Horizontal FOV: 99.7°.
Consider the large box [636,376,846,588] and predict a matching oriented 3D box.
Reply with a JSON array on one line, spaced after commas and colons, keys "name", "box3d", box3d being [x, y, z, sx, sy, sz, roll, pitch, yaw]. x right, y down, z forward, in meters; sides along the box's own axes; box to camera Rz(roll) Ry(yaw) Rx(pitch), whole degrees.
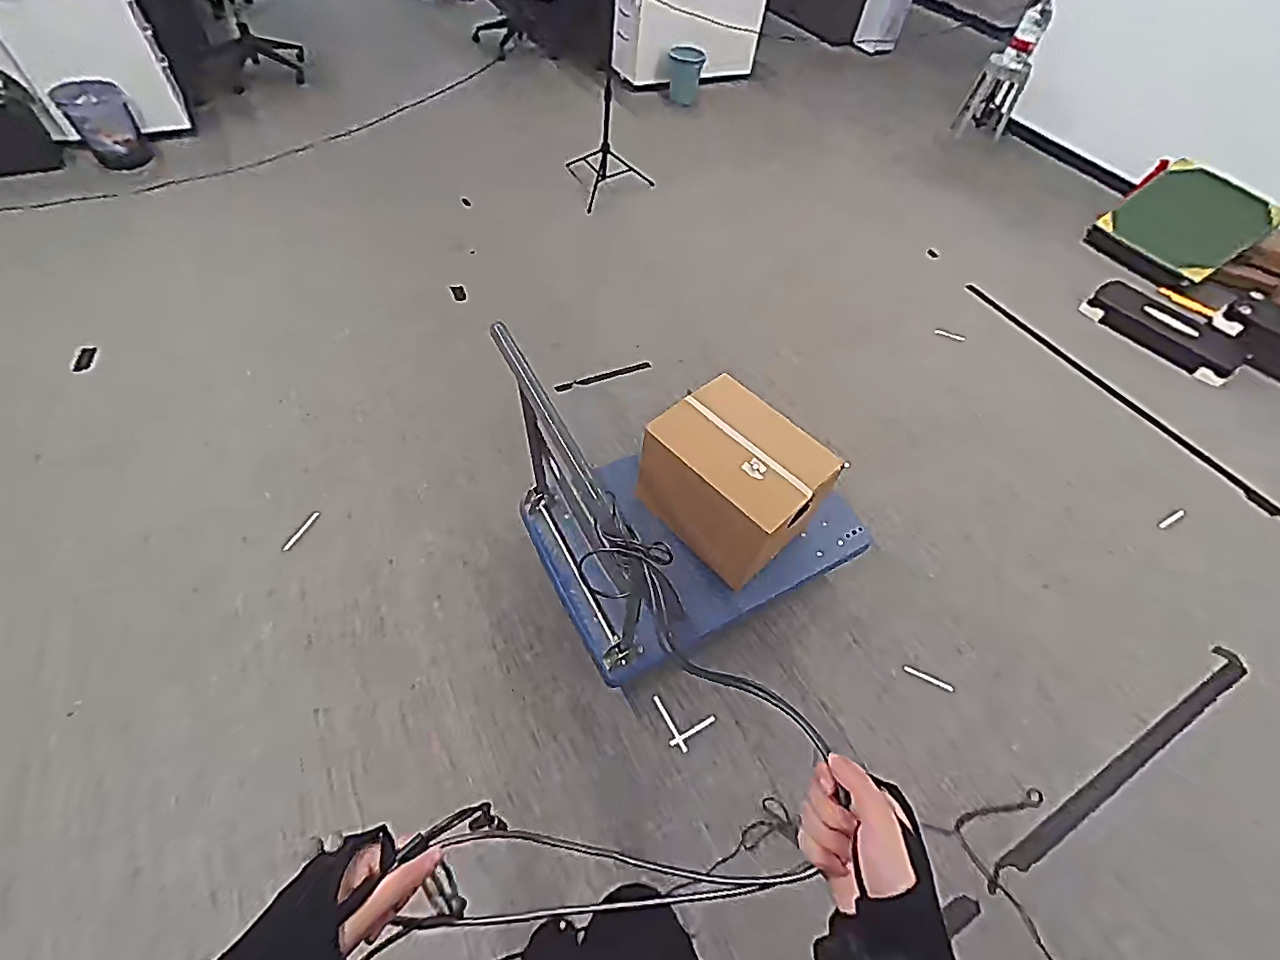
[{"name": "large box", "box3d": [0.243, 0.004, 1.439, 0.320, 0.320, 0.408, -36, 67, -26]}]
